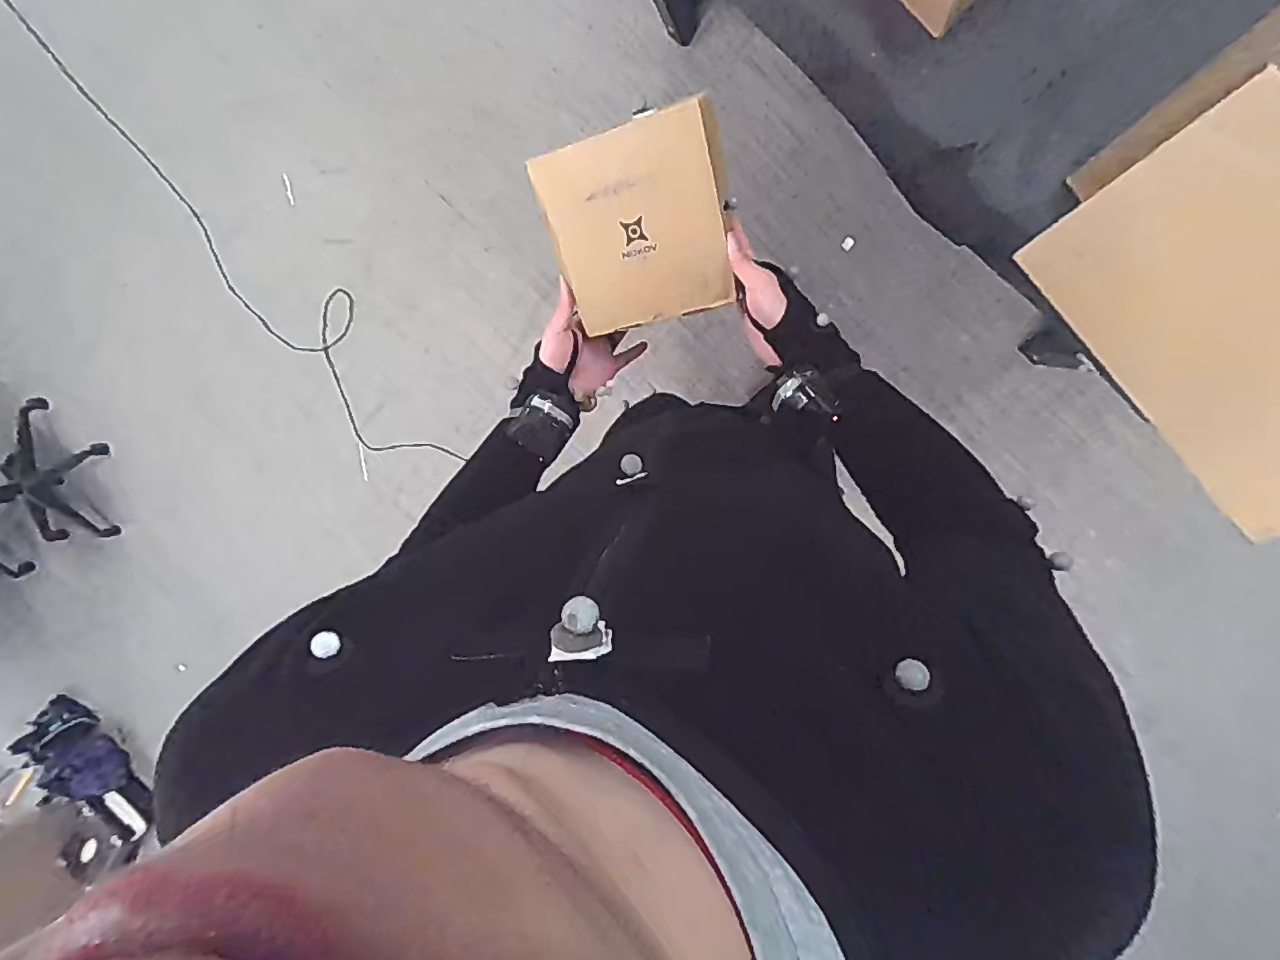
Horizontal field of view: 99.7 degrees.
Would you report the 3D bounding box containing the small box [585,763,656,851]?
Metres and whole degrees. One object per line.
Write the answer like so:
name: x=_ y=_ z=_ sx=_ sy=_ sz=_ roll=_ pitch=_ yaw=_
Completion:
small box: x=-0.061 y=1.143 z=1.901 sx=0.168 sy=0.176 sz=0.179 roll=43 pitch=113 yaw=1
